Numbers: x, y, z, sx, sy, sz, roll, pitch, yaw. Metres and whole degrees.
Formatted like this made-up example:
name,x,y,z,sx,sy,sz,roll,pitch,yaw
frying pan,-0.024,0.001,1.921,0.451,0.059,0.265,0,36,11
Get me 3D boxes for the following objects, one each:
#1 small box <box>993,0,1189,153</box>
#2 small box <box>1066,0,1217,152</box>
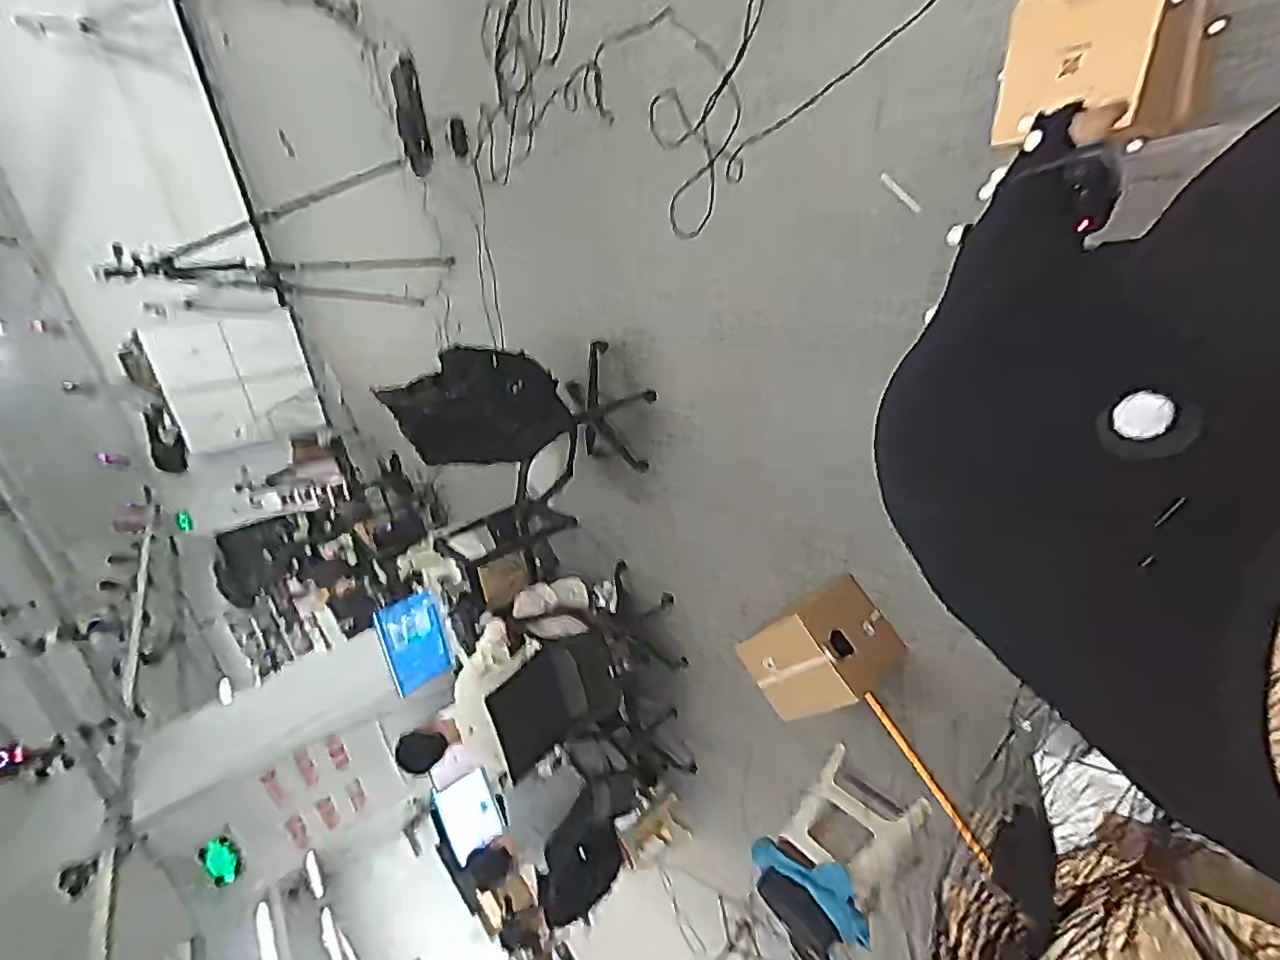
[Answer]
name,x,y,z,sx,sy,sz,roll,pitch,yaw
small box,0.641,-0.581,0.773,0.168,0.176,0.179,22,125,46
small box,0.883,-0.702,0.956,0.168,0.176,0.179,15,120,49
